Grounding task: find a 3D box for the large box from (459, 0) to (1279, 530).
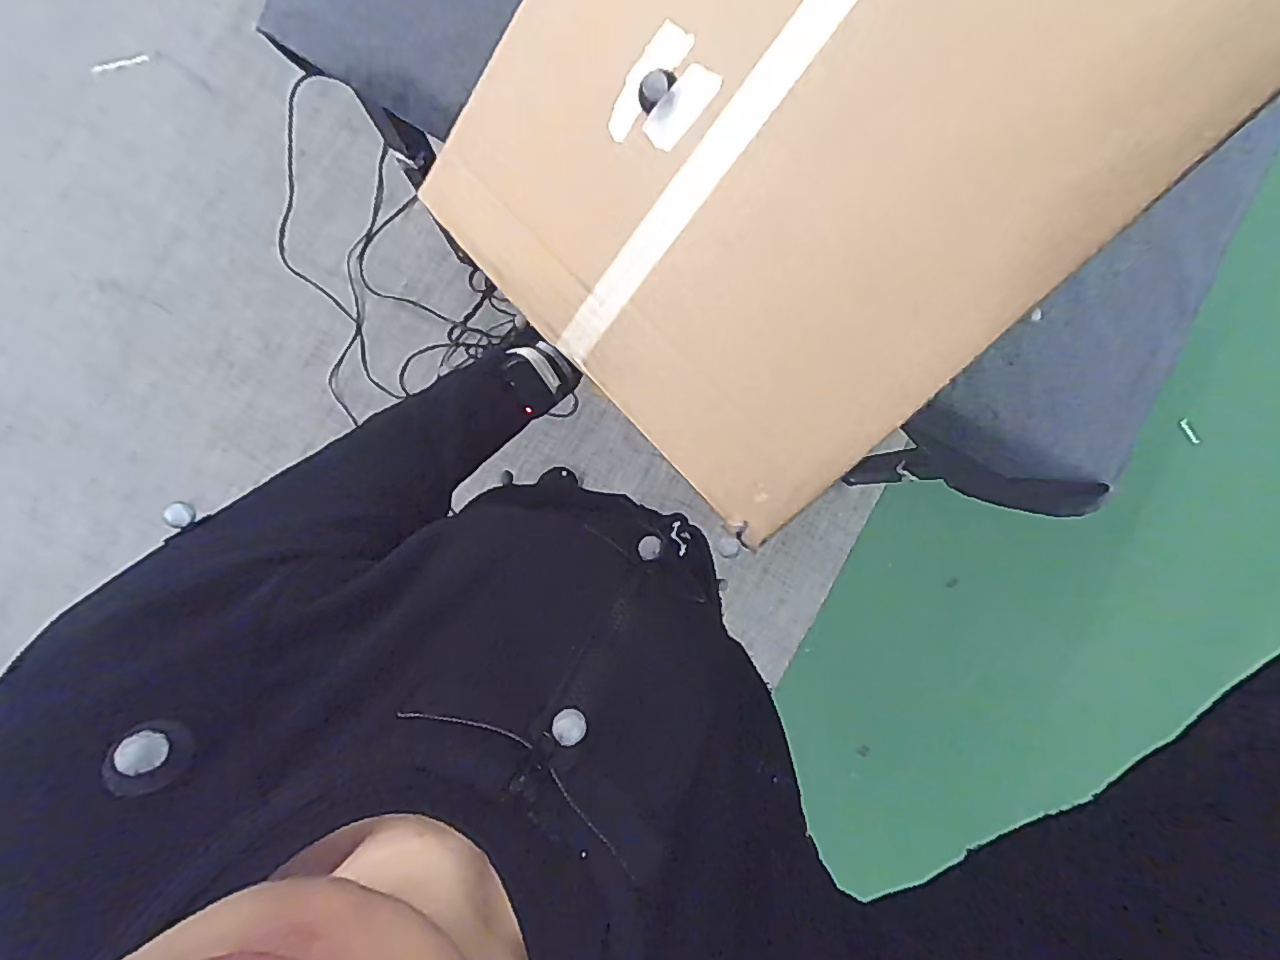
[{"bbox_3d":[0.157,-0.239,0.396,0.320,0.320,0.408,46,114,11],"label":"large box"}]
